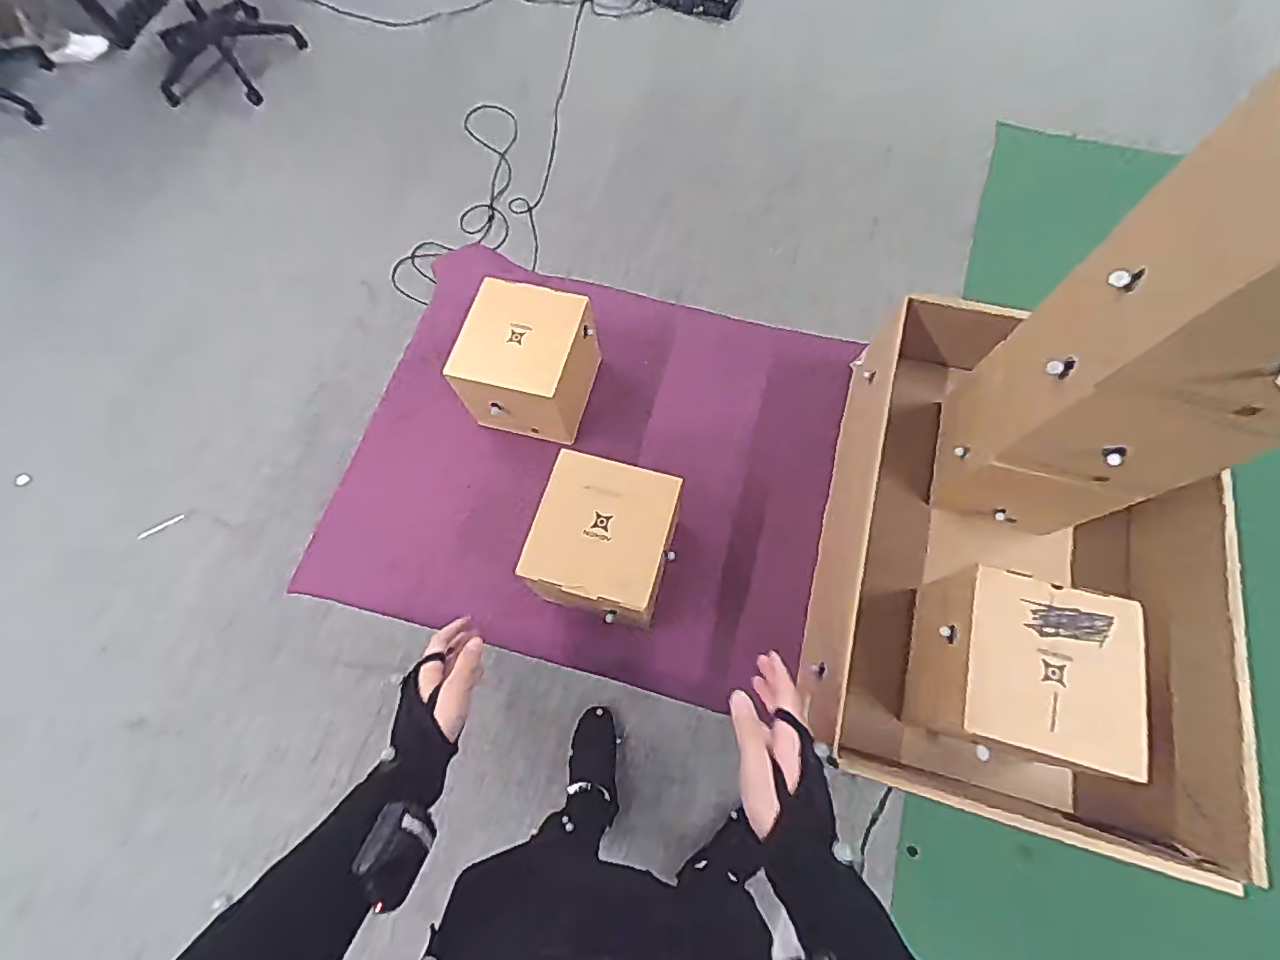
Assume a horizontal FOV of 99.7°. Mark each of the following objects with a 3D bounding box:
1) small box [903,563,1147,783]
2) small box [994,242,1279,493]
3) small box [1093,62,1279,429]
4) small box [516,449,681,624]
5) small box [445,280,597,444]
[{"bbox_3d":[0.421,0.216,0.618,0.168,0.176,0.179,14,70,9],"label":"small box"},{"bbox_3d":[0.501,-0.104,0.560,0.168,0.176,0.179,17,72,9],"label":"small box"},{"bbox_3d":[0.488,-0.160,0.407,0.168,0.176,0.179,17,73,9],"label":"small box"},{"bbox_3d":[-0.045,0.087,0.740,0.168,0.176,0.179,15,69,7],"label":"small box"},{"bbox_3d":[-0.171,-0.177,0.848,0.168,0.176,0.179,13,69,7],"label":"small box"}]
